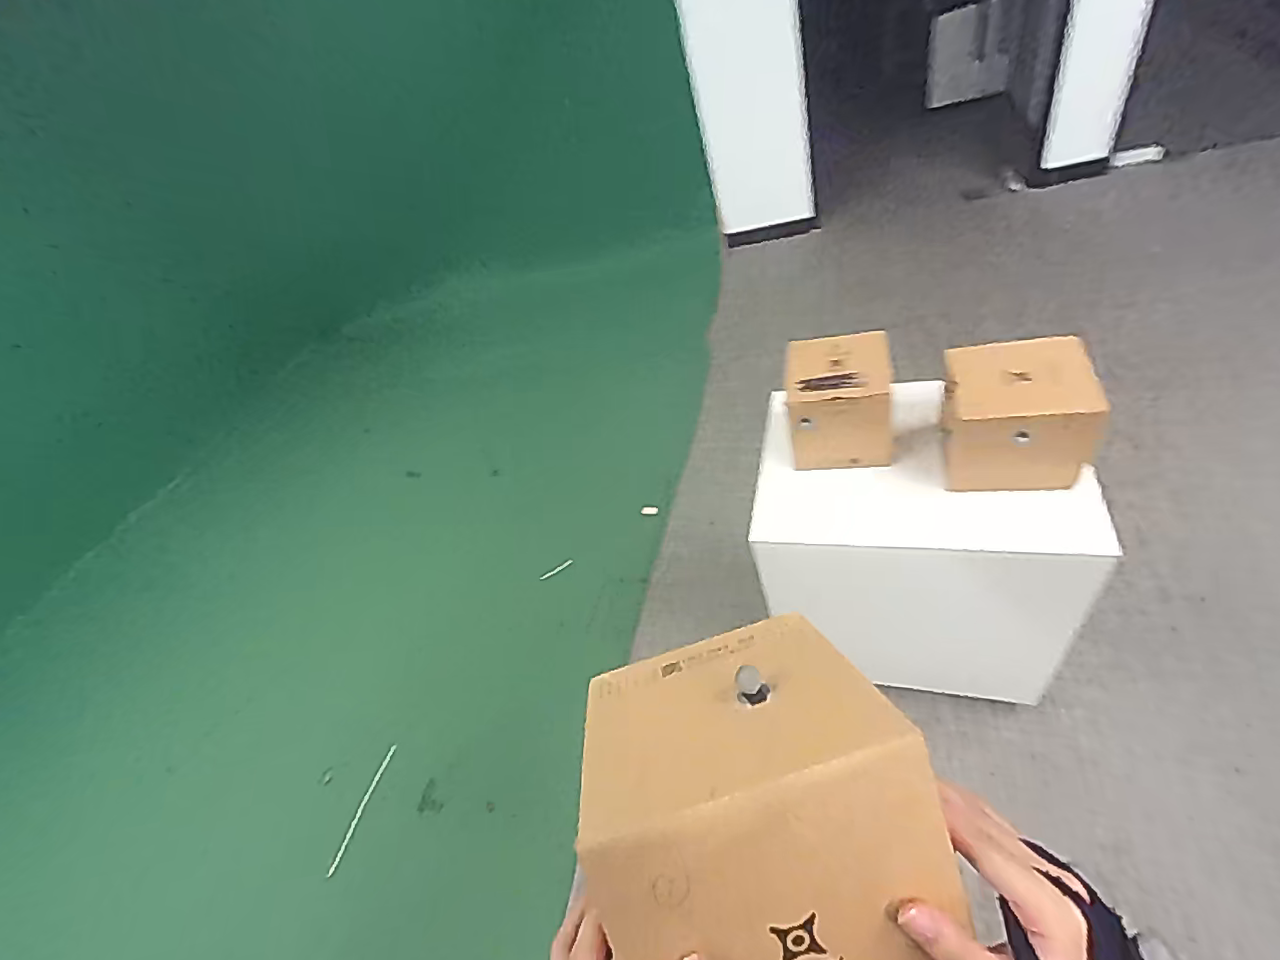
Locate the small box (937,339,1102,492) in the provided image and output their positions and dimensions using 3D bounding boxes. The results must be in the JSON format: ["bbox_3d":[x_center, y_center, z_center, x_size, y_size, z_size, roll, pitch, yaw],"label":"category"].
[{"bbox_3d":[0.570,-0.093,0.842,0.179,0.176,0.168,-2,49,22],"label":"small box"}]
